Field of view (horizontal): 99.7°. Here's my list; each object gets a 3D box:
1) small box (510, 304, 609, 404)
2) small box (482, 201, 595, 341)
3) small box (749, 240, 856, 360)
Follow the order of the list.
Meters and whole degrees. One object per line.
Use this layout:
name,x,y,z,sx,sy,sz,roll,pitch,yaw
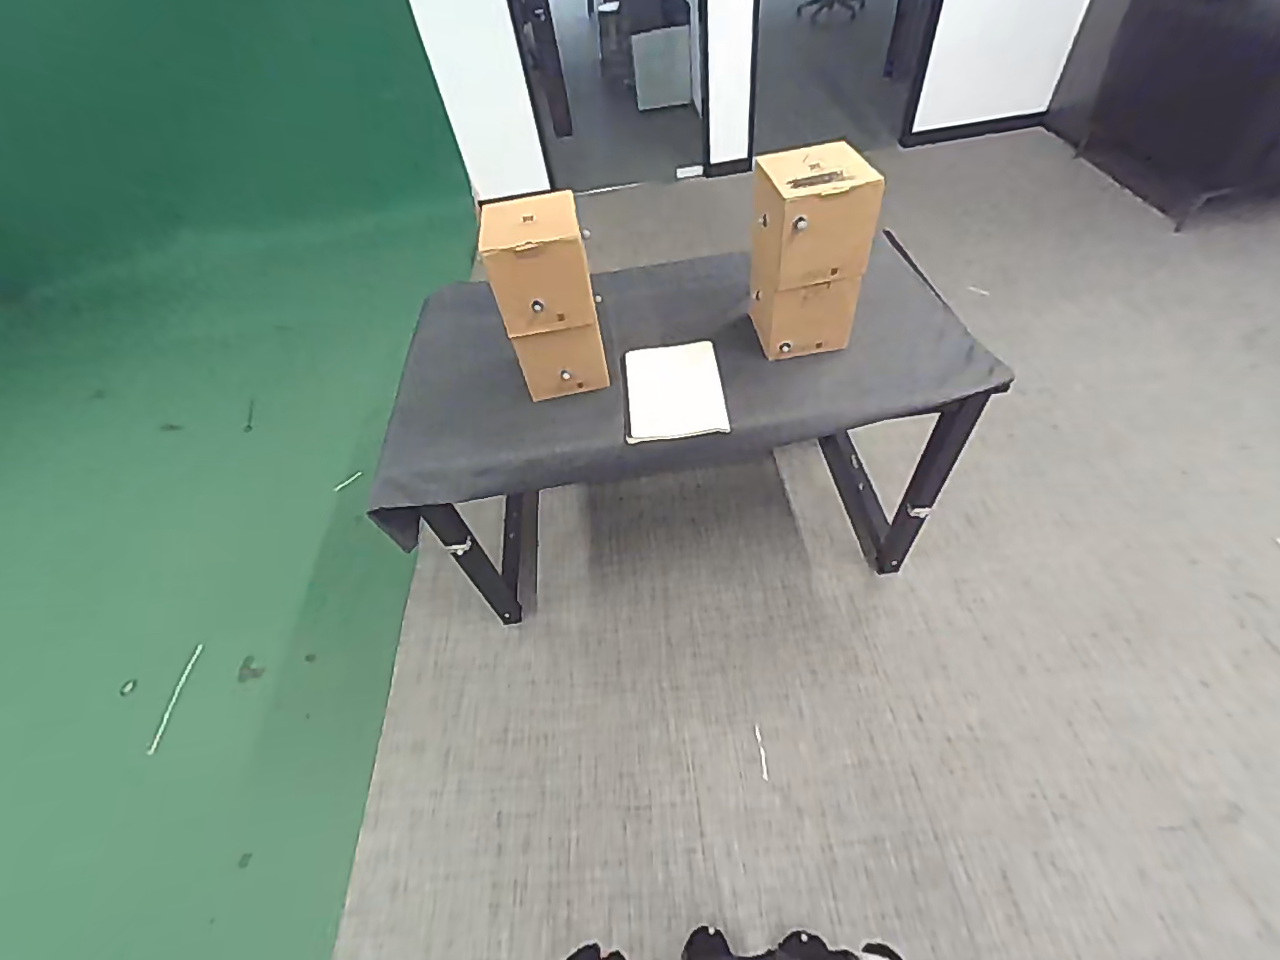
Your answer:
small box,-0.165,-0.284,1.118,0.168,0.176,0.179,-12,50,-1
small box,-0.180,-0.380,0.988,0.168,0.176,0.179,-10,50,-1
small box,0.325,-0.364,1.116,0.168,0.176,0.179,-8,49,1
